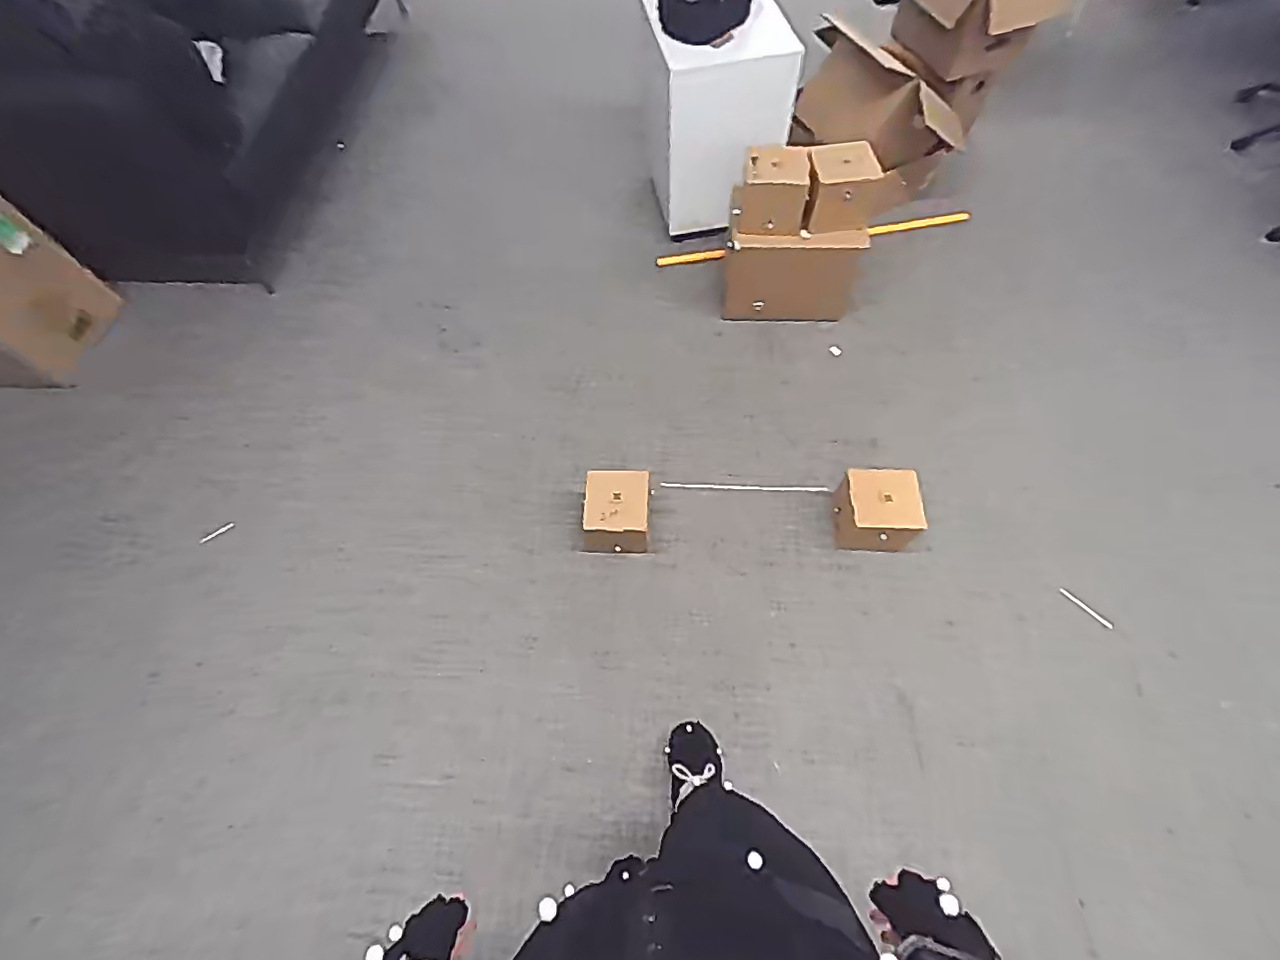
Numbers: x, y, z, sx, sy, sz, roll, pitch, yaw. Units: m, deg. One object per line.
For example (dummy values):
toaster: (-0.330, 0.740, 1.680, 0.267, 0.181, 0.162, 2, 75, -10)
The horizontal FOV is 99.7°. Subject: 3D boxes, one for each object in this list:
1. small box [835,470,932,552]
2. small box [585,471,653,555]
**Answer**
small box: (0.634, 0.086, 1.429, 0.179, 0.176, 0.168, 1, 63, 4)
small box: (-0.050, 0.090, 1.466, 0.168, 0.176, 0.179, 1, 63, 4)
